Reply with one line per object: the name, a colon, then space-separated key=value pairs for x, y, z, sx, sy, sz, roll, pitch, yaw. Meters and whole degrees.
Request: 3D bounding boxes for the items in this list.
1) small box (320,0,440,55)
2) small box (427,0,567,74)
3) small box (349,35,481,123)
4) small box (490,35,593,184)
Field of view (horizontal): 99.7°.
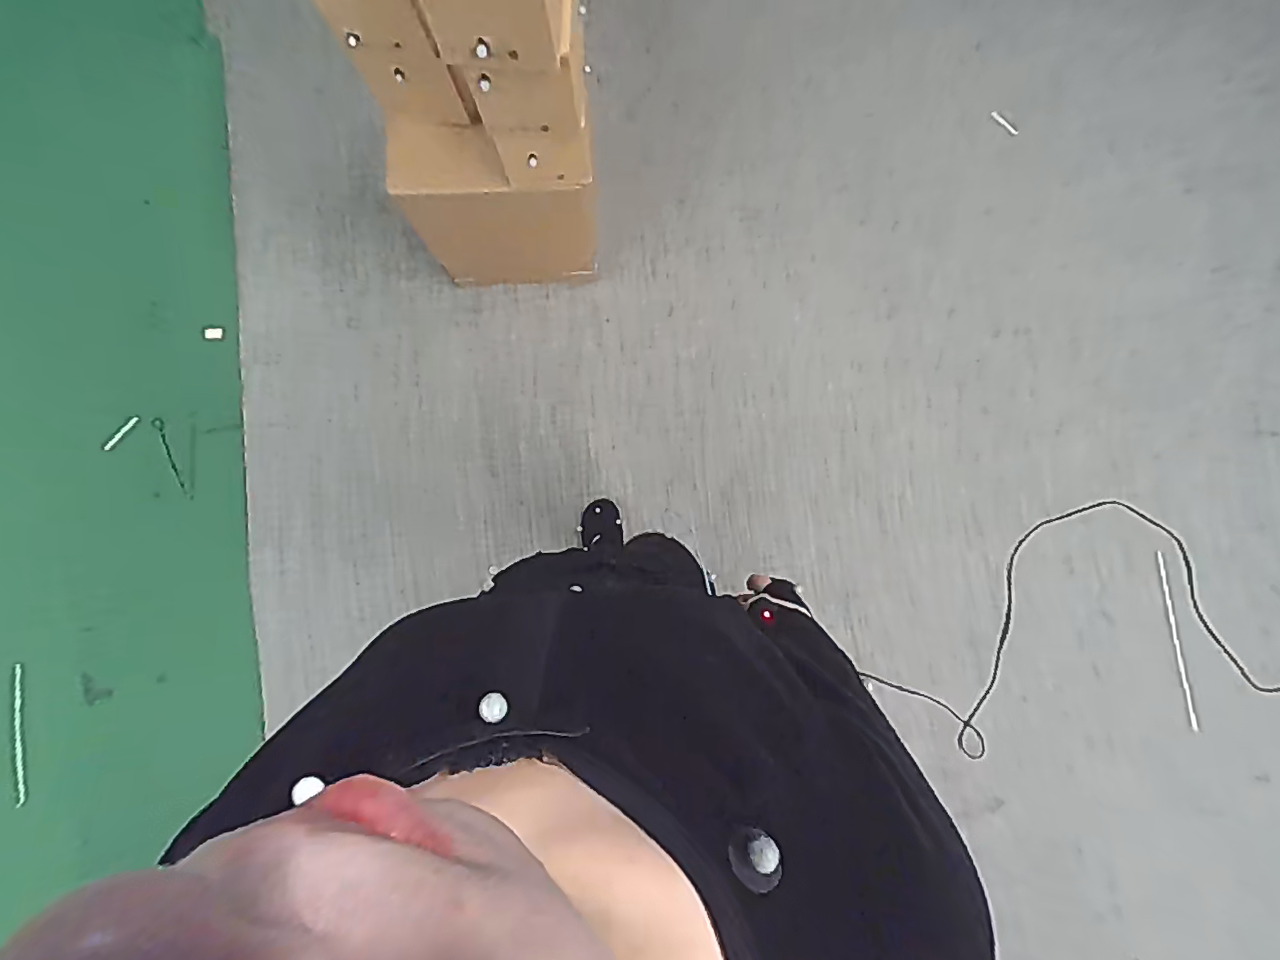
small box: x=-0.424 y=-0.839 z=0.874 sx=0.168 sy=0.176 sz=0.179 roll=6 pitch=84 yaw=0
small box: x=-0.190 y=-0.680 z=0.700 sx=0.168 sy=0.176 sz=0.179 roll=4 pitch=86 yaw=0
small box: x=-0.422 y=-0.823 z=1.038 sx=0.179 sy=0.176 sz=0.168 roll=4 pitch=86 yaw=-1
small box: x=-0.181 y=-0.690 z=1.030 sx=0.168 sy=0.176 sz=0.179 roll=-4 pitch=86 yaw=-1
